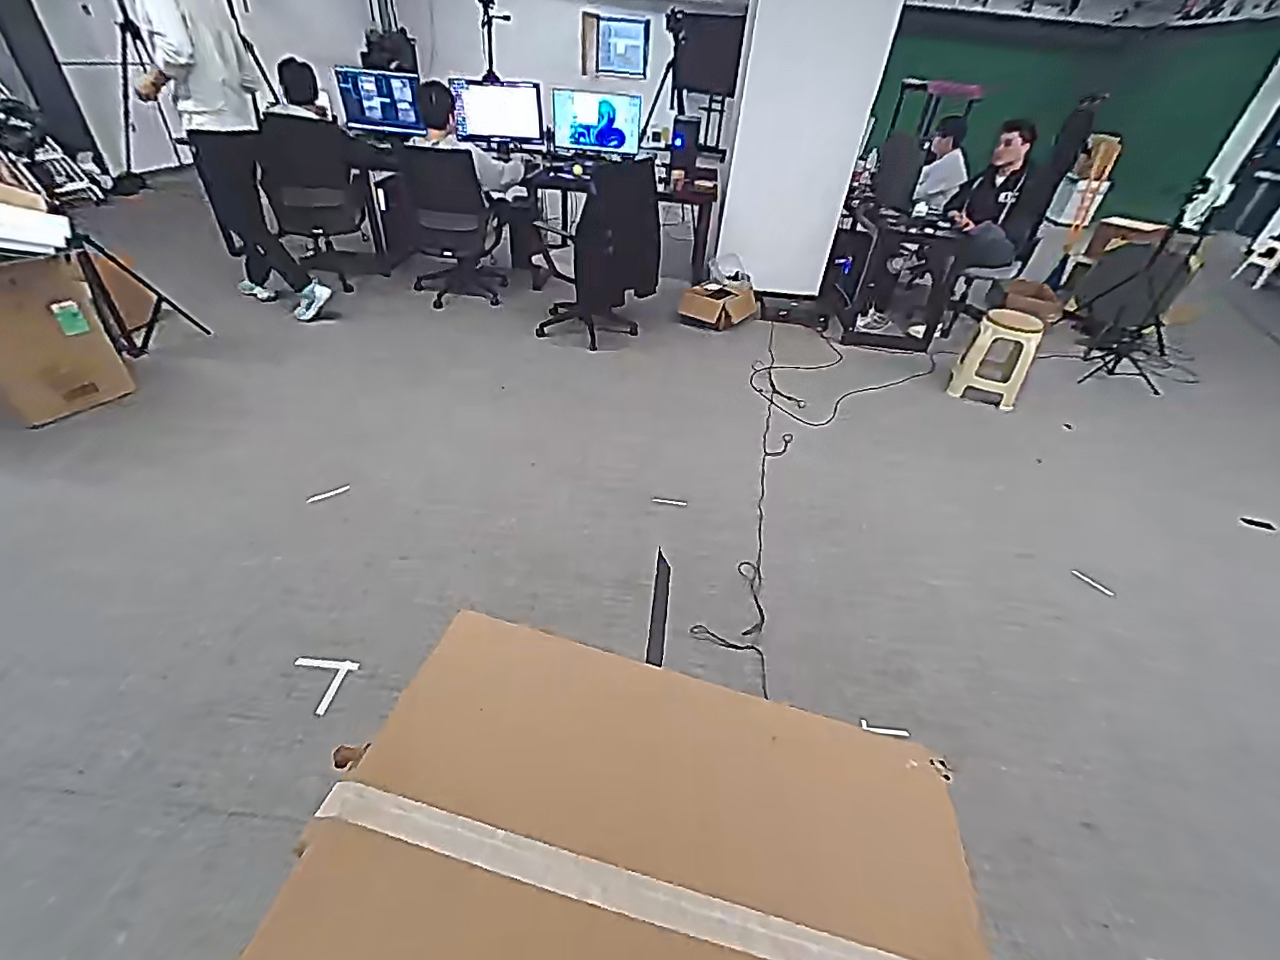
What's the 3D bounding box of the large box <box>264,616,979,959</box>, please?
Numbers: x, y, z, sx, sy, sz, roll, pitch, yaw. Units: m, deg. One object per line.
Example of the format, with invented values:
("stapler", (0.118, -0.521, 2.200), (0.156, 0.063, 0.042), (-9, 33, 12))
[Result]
("large box", (-0.015, 0.368, 0.419), (0.408, 0.320, 0.320), (16, 37, 3))
